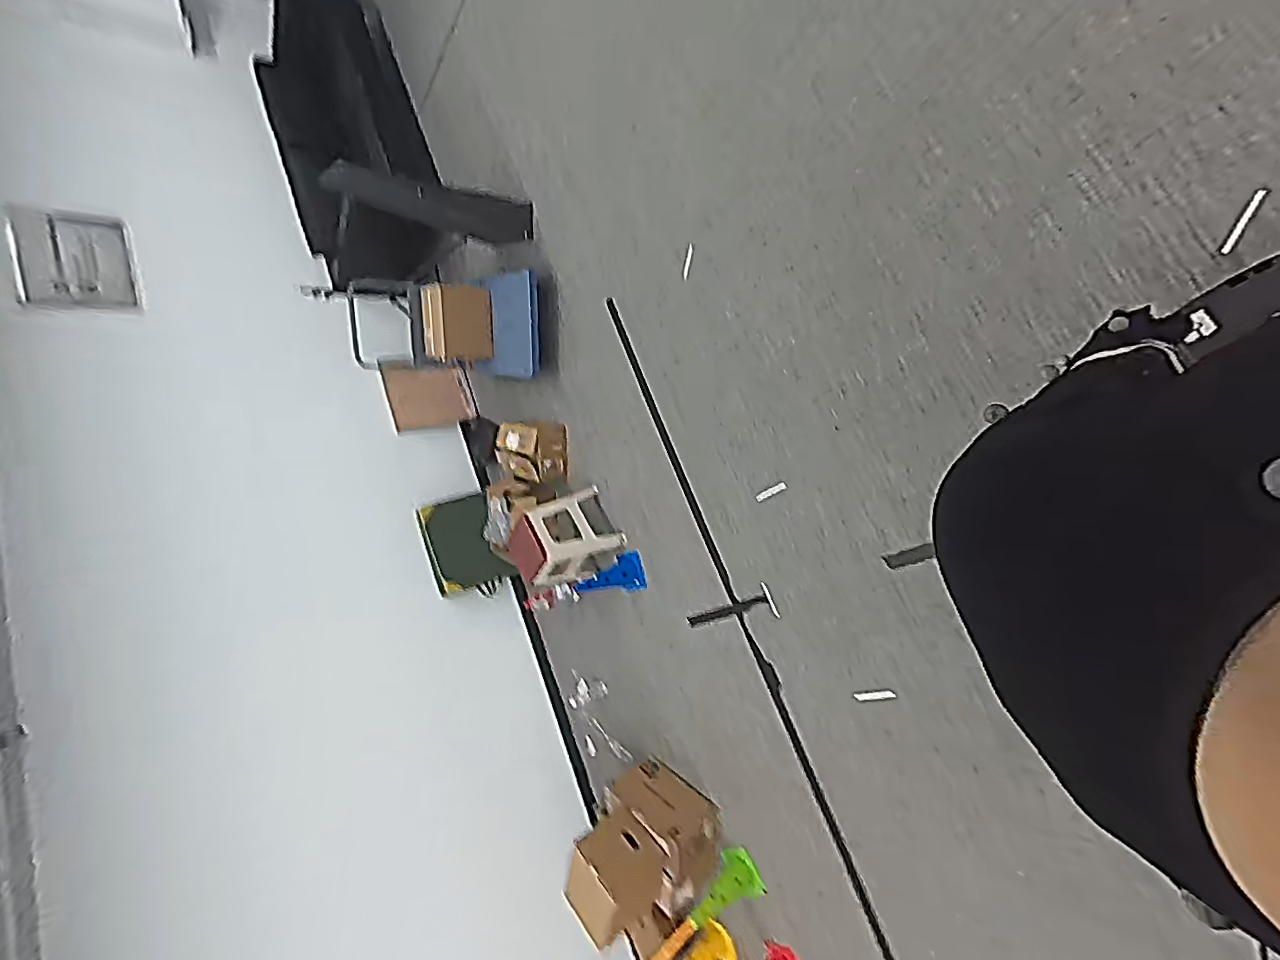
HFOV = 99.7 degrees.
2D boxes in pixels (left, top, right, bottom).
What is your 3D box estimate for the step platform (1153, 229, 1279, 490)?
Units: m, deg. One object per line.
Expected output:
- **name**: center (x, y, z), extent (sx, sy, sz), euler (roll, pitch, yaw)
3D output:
- **step platform**: center (1.282, -0.135, 0.971), extent (0.286, 0.204, 0.684), euler (-39, 68, 48)
